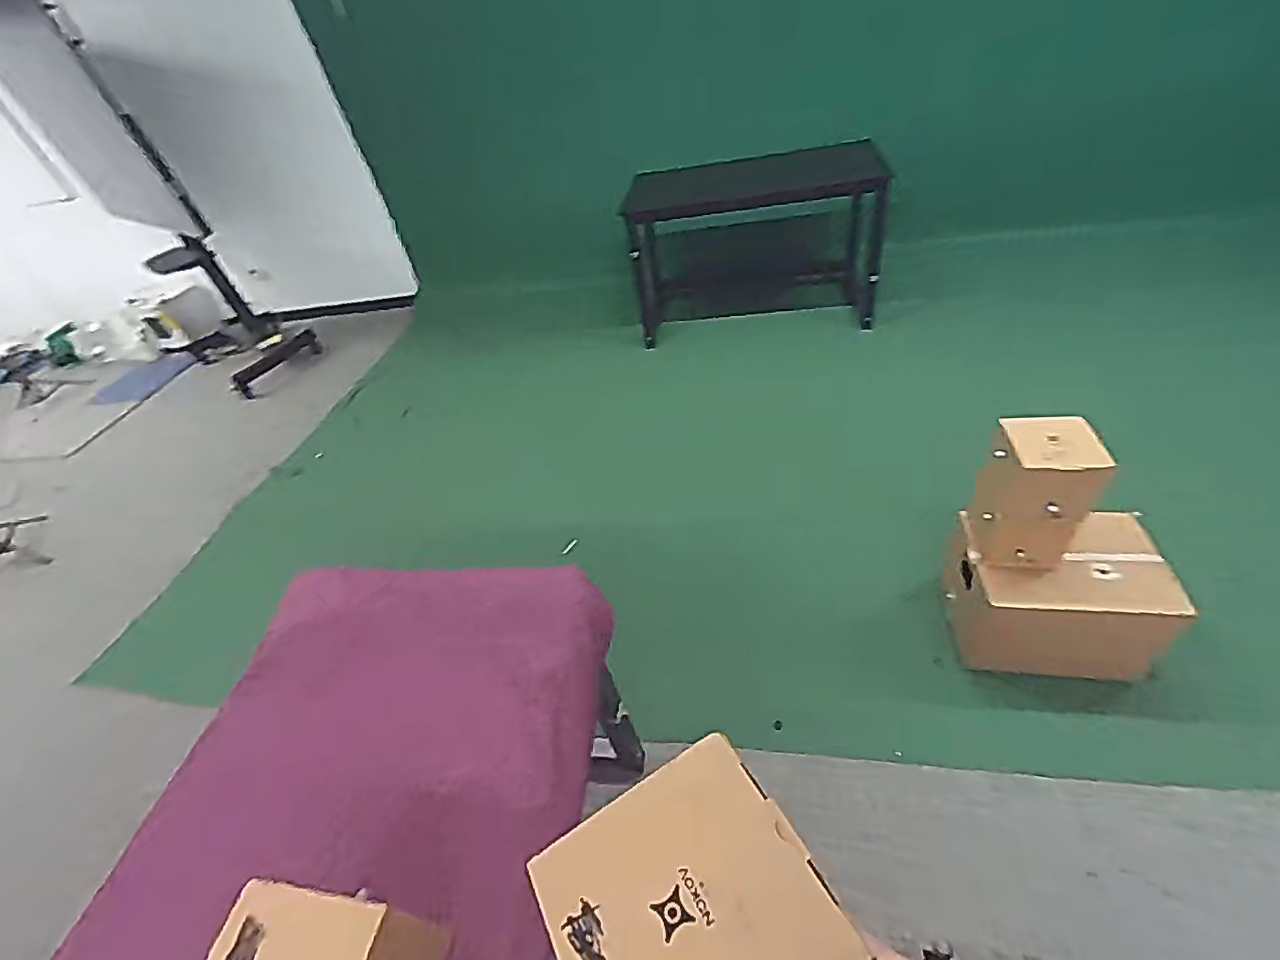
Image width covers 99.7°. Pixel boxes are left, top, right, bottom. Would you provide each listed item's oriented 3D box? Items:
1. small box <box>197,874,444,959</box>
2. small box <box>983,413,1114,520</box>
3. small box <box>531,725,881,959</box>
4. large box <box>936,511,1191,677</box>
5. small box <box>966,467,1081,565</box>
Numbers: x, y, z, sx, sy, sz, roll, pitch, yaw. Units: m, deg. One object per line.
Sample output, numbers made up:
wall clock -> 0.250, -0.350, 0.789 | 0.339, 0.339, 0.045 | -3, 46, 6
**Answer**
small box -> -0.338, 0.533, 0.552 | 0.179, 0.176, 0.168 | -1, 44, 14
small box -> 0.904, -0.031, 1.220 | 0.168, 0.176, 0.179 | -1, 43, 13
small box -> 0.044, 0.330, 0.406 | 0.179, 0.176, 0.168 | -26, 43, -14
large box -> 1.066, 0.297, 1.432 | 0.408, 0.320, 0.320 | 0, 44, 13
small box -> 0.930, 0.087, 1.332 | 0.168, 0.176, 0.179 | 0, 43, 14
